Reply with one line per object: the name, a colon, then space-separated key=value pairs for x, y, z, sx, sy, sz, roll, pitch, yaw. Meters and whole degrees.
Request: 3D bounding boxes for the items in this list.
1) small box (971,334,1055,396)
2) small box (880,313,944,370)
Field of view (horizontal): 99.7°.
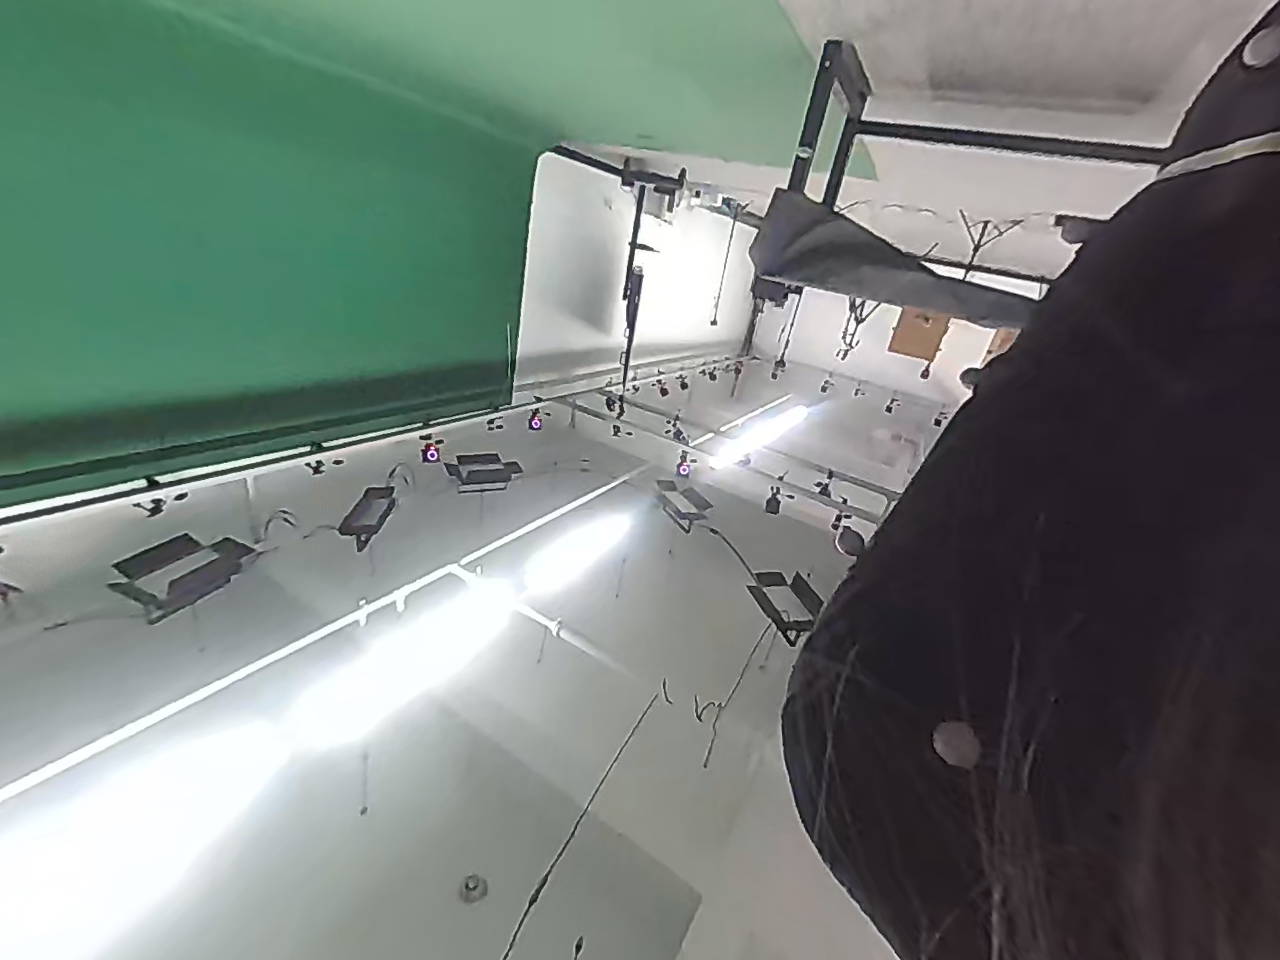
small box: x=1.297 y=-0.410 z=1.892 sx=0.179 sy=0.176 sz=0.168 roll=19 pitch=-156 yaw=17
small box: x=1.011 y=-0.520 z=2.006 sx=0.168 sy=0.176 sz=0.179 roll=20 pitch=-157 yaw=22
